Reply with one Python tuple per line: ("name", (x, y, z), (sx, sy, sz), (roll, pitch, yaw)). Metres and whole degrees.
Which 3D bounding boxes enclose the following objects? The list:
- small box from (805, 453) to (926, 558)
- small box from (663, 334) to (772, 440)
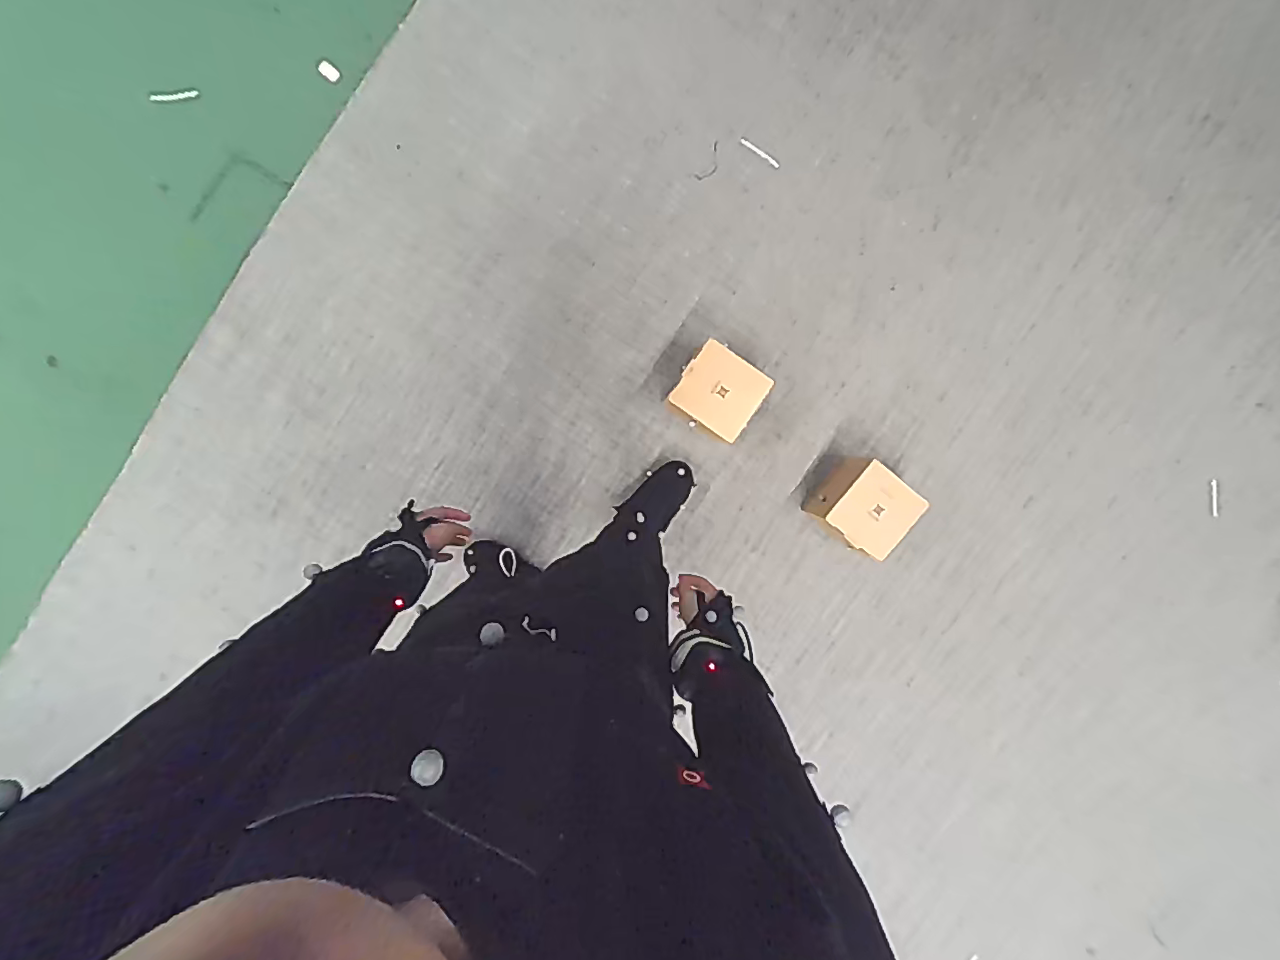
("small box", (0.511, 0.053, 1.263), (0.168, 0.176, 0.179), (38, 92, -4))
("small box", (0.168, -0.207, 1.240), (0.179, 0.176, 0.168), (34, 93, -2))
